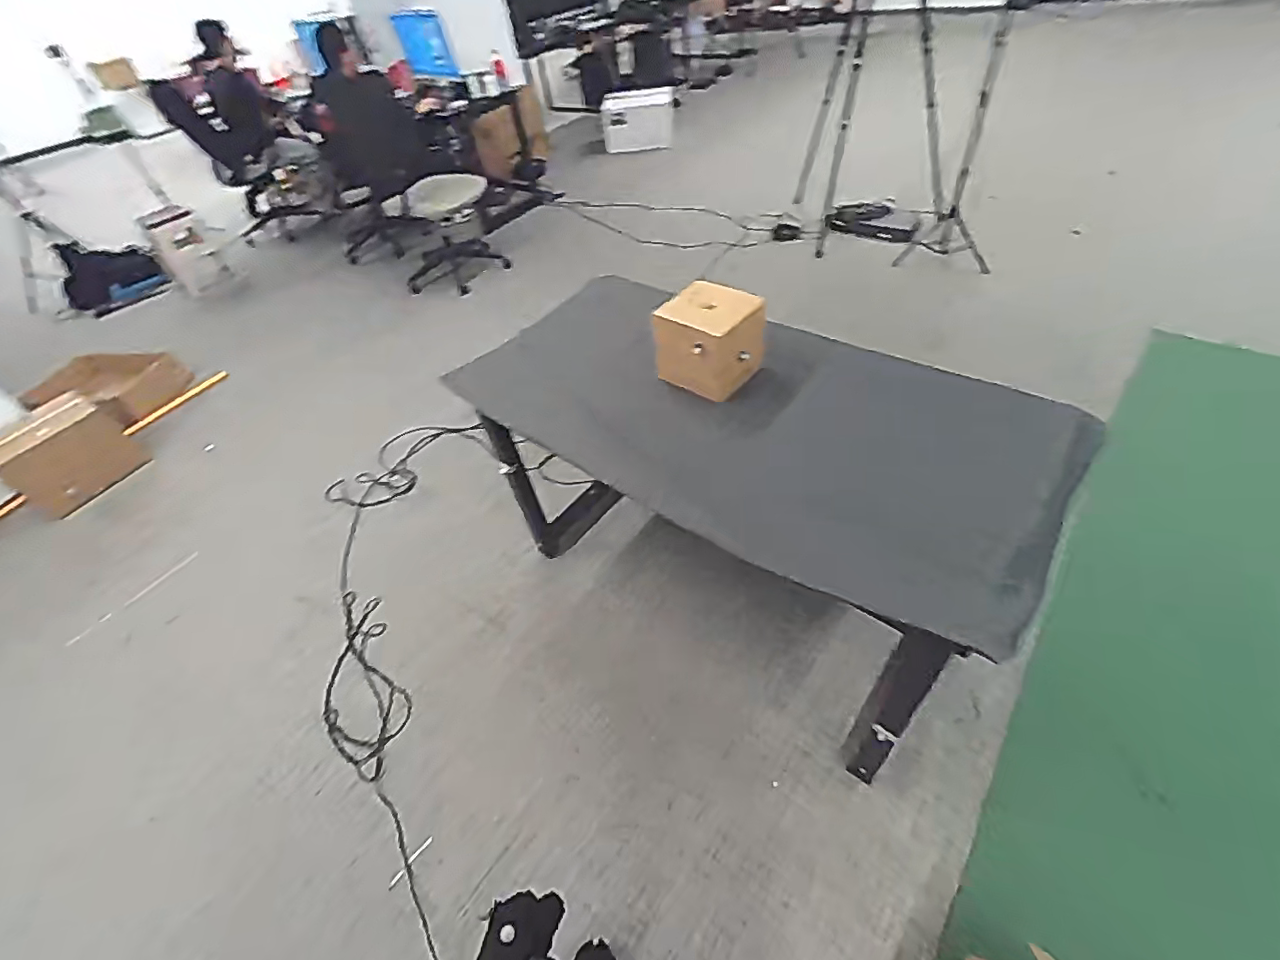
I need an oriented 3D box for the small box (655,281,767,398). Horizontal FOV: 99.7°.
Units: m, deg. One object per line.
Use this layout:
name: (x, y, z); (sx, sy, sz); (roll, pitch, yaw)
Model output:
small box: (0.156, -0.302, 1.178); (0.179, 0.176, 0.168); (30, 58, 32)
